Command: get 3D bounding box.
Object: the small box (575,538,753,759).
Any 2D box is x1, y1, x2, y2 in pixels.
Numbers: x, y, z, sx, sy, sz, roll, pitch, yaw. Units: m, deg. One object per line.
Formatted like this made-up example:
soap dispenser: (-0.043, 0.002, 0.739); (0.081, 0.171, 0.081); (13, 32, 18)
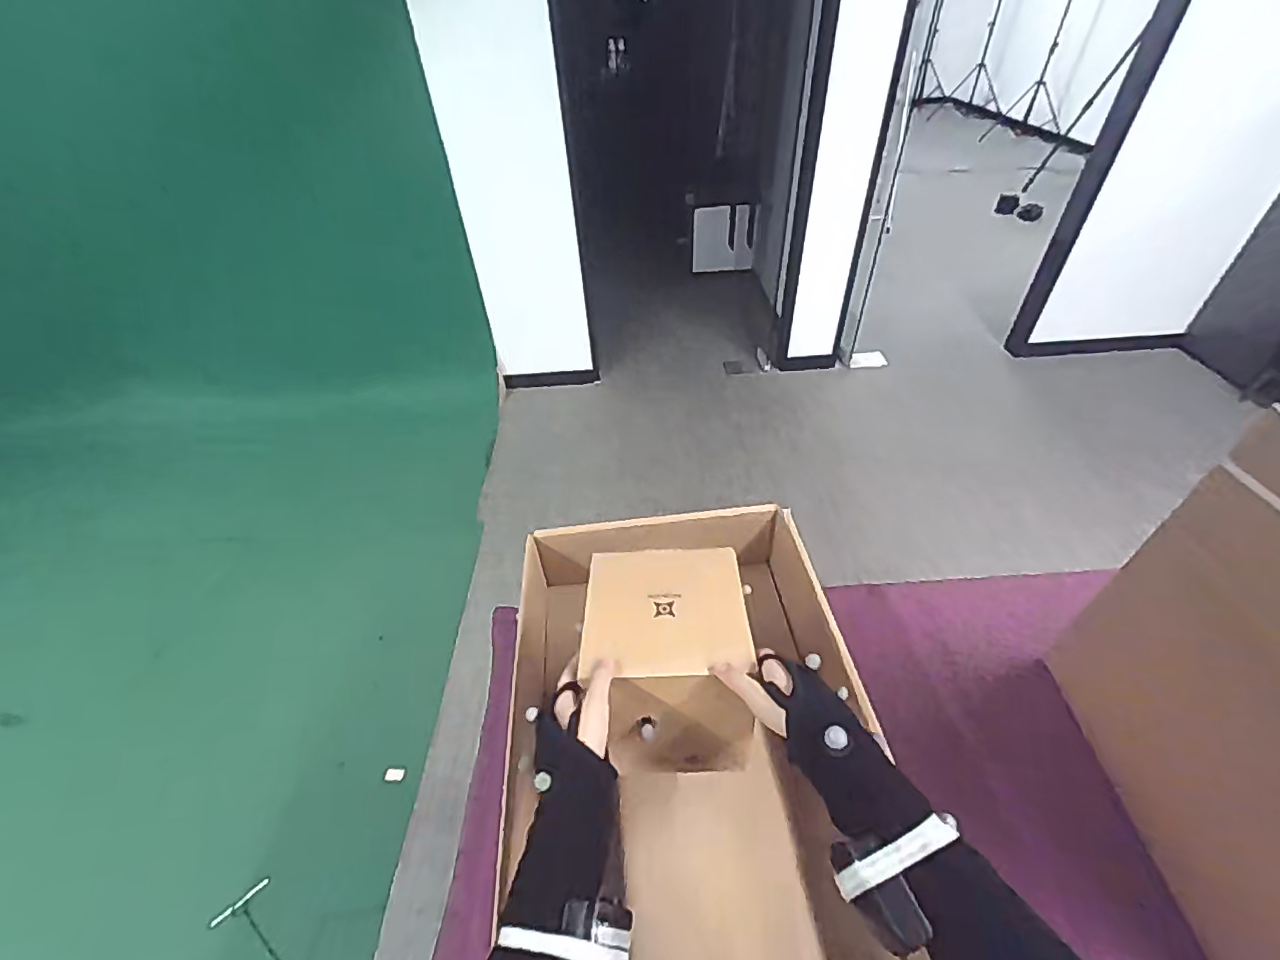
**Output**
small box: (0.029, 0.188, 0.596); (0.168, 0.176, 0.179); (-3, 35, 2)
